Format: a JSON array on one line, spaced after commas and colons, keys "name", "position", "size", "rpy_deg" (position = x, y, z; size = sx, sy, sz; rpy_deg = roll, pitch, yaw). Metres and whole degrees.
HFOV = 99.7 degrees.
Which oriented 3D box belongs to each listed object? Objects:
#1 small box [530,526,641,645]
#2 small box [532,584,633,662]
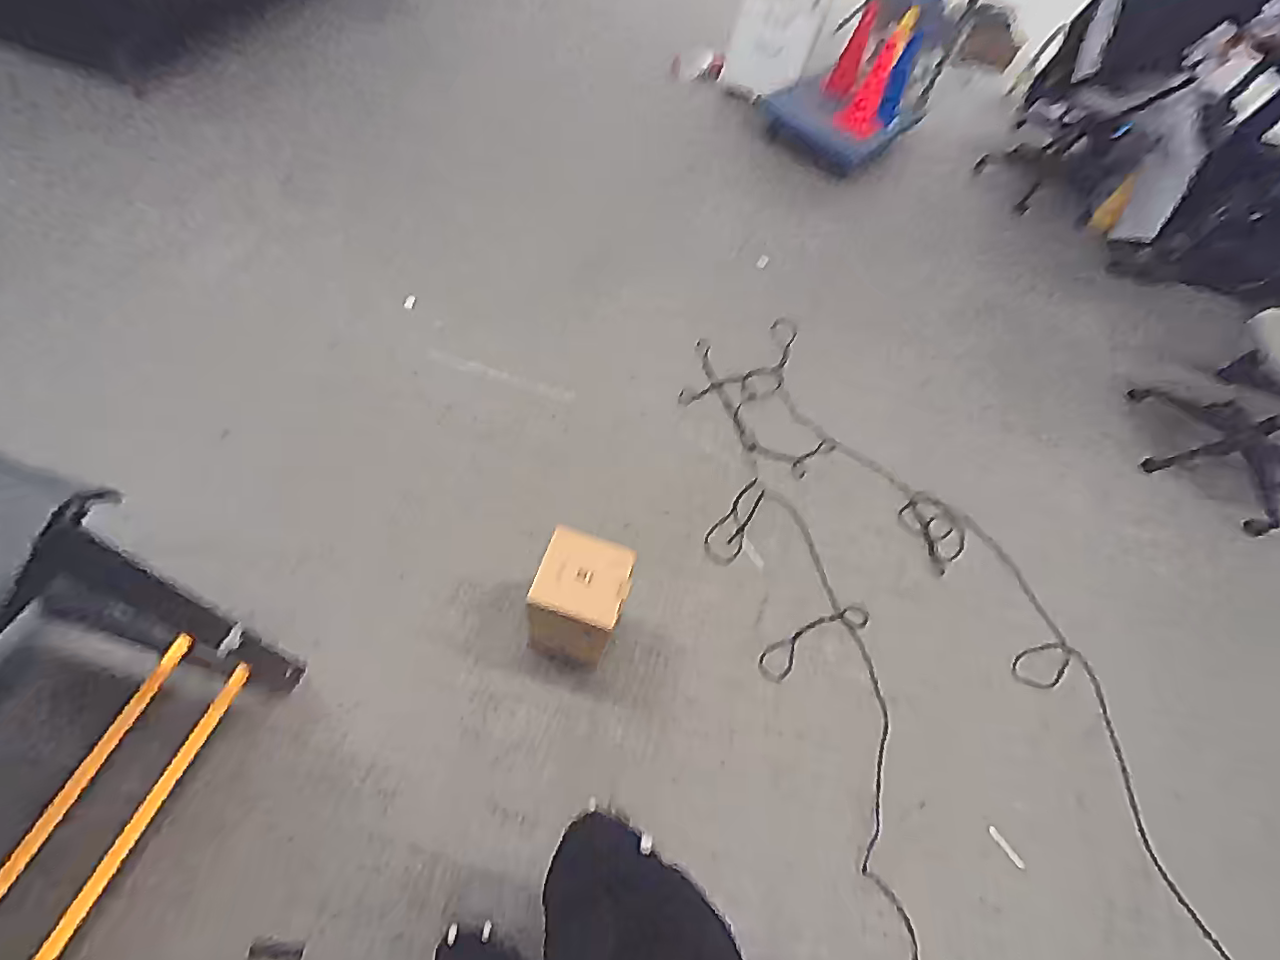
[{"name": "small box", "position": [-0.113, 0.223, 1.113], "size": [0.179, 0.176, 0.168], "rpy_deg": [18, 57, 2]}, {"name": "small box", "position": [-0.137, 0.304, 1.252], "size": [0.179, 0.176, 0.168], "rpy_deg": [22, 56, 1]}]
